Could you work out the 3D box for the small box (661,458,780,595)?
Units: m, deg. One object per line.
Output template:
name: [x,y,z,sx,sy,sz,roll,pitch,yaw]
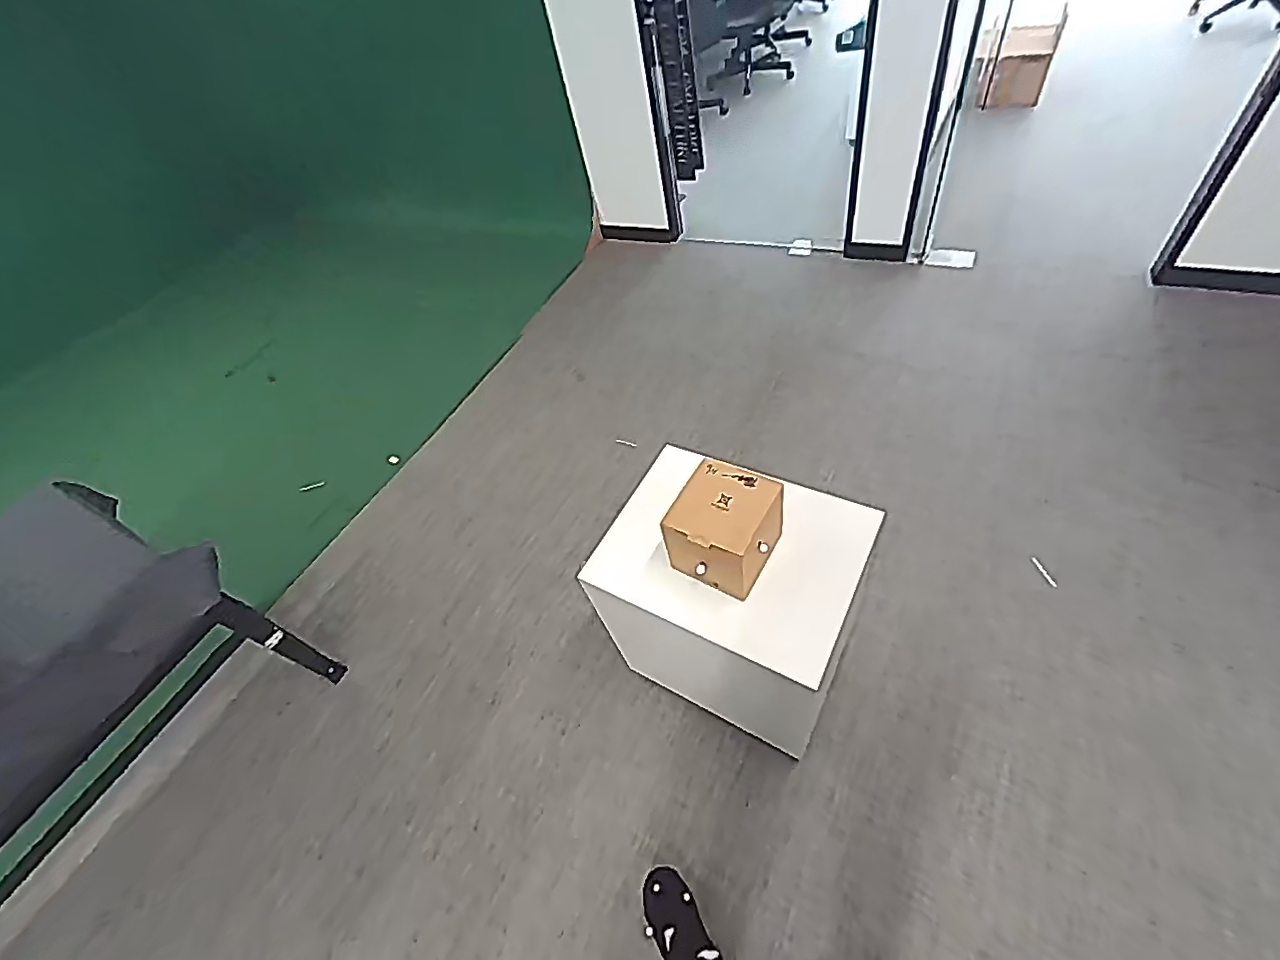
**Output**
small box: [0.163,0.093,1.043,0.168,0.176,0.179,19,58,26]
